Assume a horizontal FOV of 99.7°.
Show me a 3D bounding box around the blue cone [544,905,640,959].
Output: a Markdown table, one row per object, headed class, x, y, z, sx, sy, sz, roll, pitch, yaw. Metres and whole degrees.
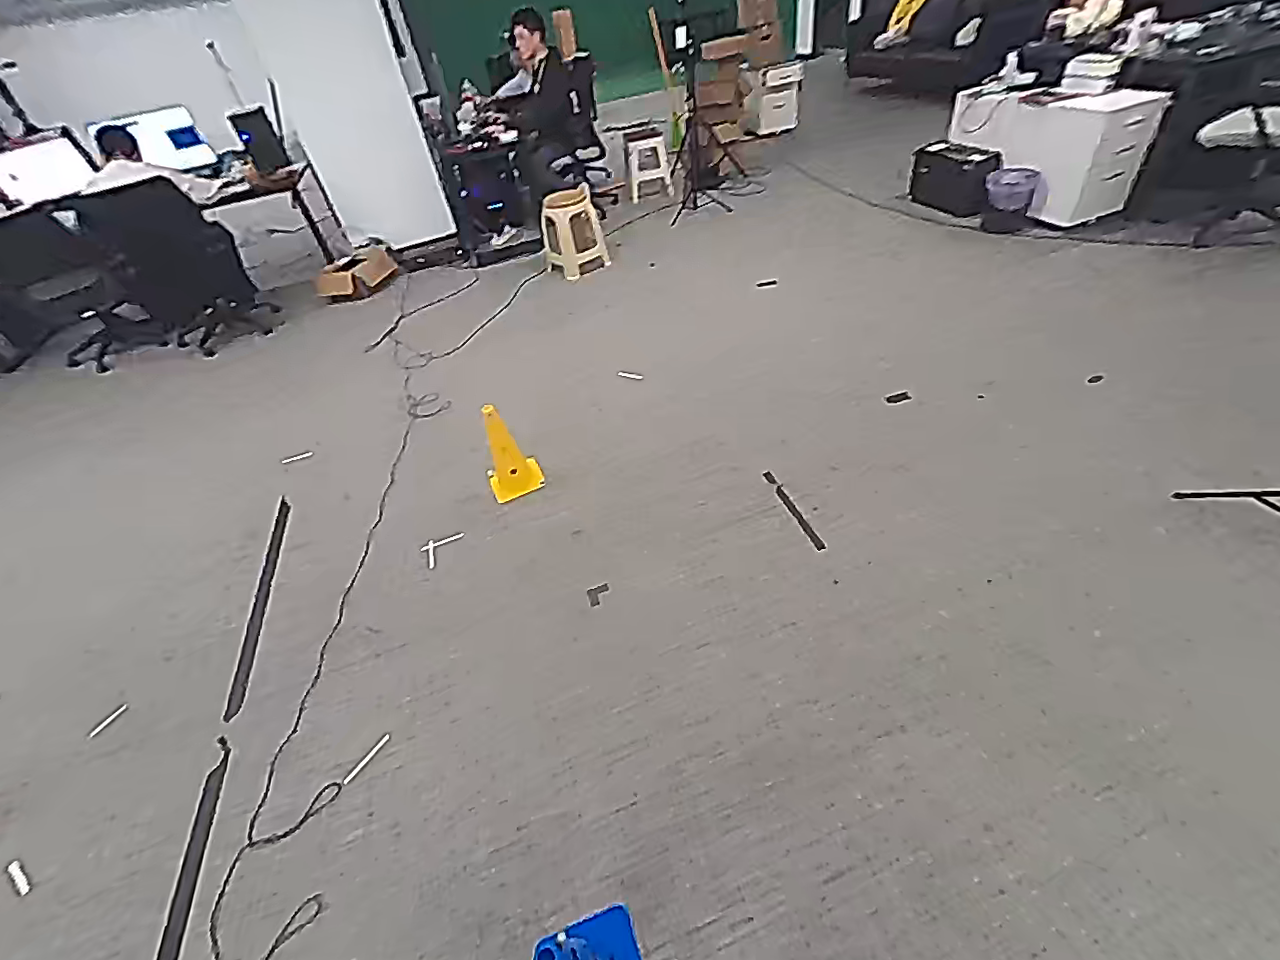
| class | x | y | z | sx | sy | sz | roll | pitch | yaw |
| --- | --- | --- | --- | --- | --- | --- | --- | --- | --- |
| blue cone | -0.106 | 0.839 | 0.930 | 0.192 | 0.380 | 0.193 | -17 | 42 | -8 |
